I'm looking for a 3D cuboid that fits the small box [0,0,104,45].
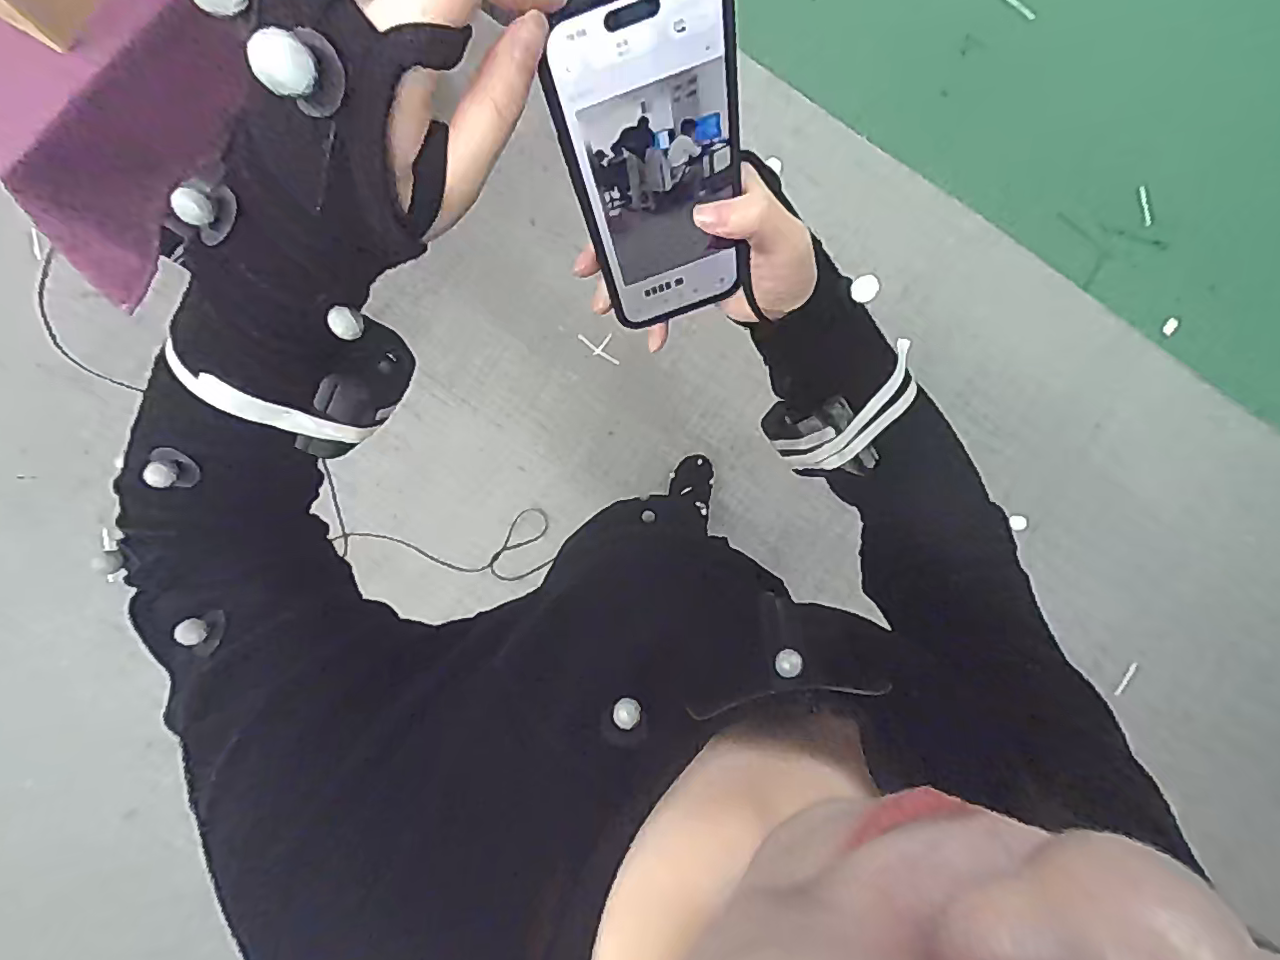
[{"bbox_3d":[-0.846,-0.734,0.705,0.168,0.176,0.179,31,83,1],"label":"small box"}]
